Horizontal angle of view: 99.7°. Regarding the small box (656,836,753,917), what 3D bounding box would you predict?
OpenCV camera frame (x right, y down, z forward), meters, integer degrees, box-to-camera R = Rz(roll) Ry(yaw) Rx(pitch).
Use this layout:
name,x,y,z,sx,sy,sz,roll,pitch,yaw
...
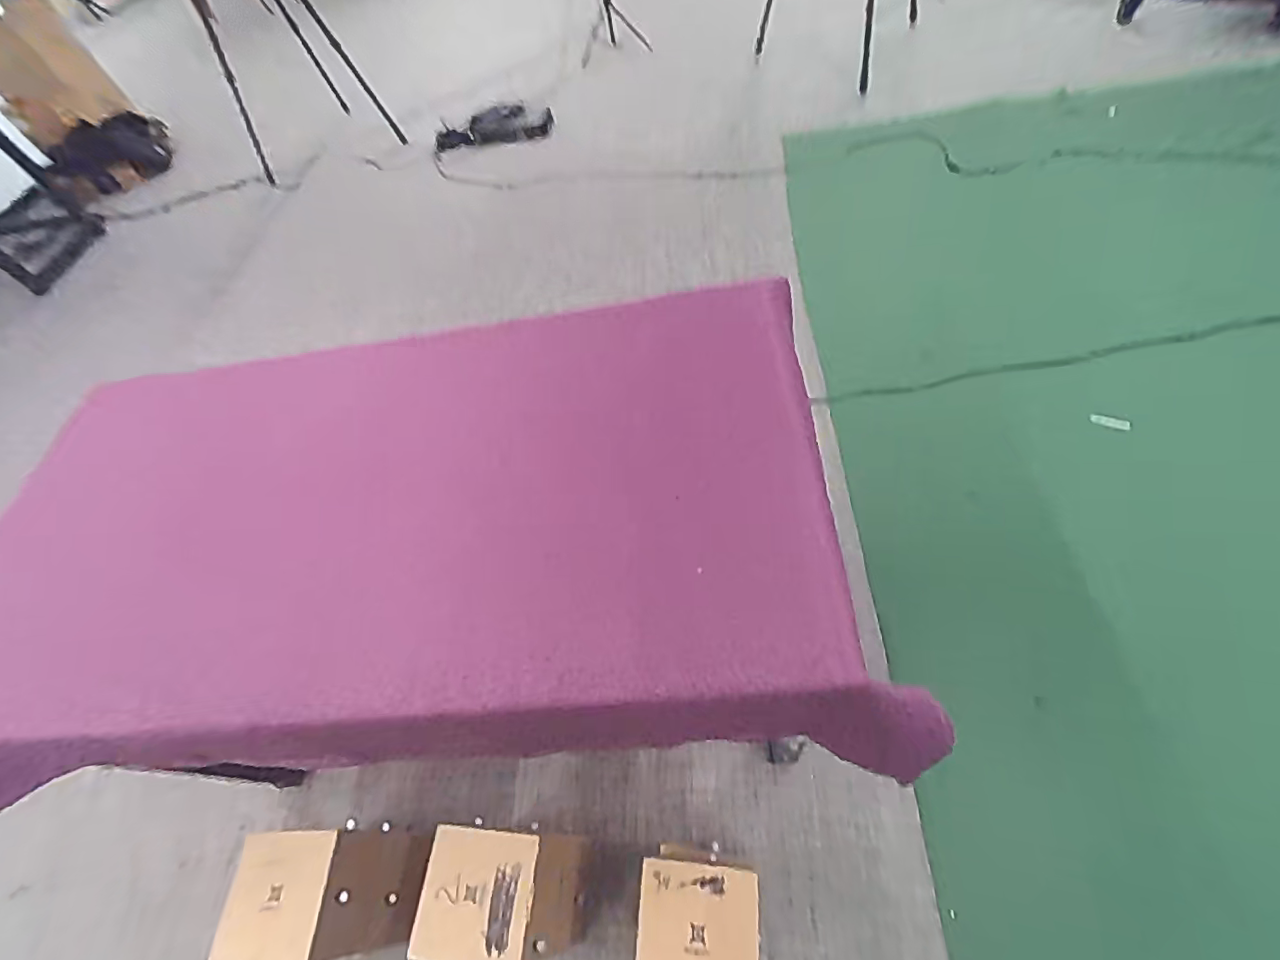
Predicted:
name,x,y,z,sx,sy,sz,roll,pitch,yaw
small box,0.109,0.744,0.946,0.168,0.176,0.179,4,57,13

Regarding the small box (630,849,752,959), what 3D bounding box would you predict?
name,x,y,z,sx,sy,sz,roll,pitch,yaw
small box,0.078,0.663,0.801,0.168,0.176,0.179,-2,59,5
